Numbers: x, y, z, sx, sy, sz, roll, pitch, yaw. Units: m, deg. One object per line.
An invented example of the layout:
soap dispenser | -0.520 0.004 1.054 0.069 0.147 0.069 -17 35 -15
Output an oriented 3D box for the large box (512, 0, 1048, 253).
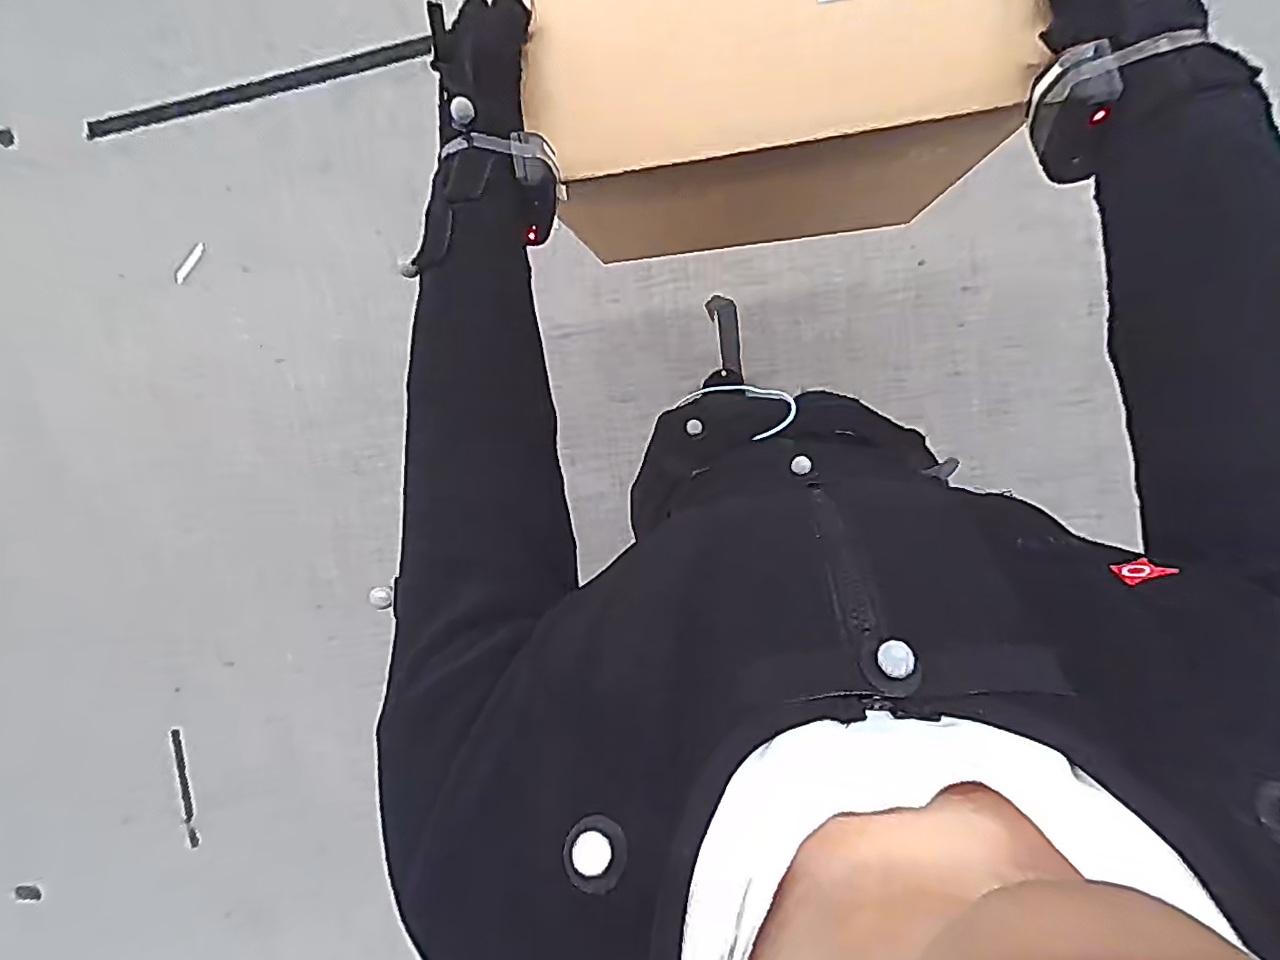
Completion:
large box | 0.106 -0.452 0.549 0.408 0.320 0.320 -5 100 8
